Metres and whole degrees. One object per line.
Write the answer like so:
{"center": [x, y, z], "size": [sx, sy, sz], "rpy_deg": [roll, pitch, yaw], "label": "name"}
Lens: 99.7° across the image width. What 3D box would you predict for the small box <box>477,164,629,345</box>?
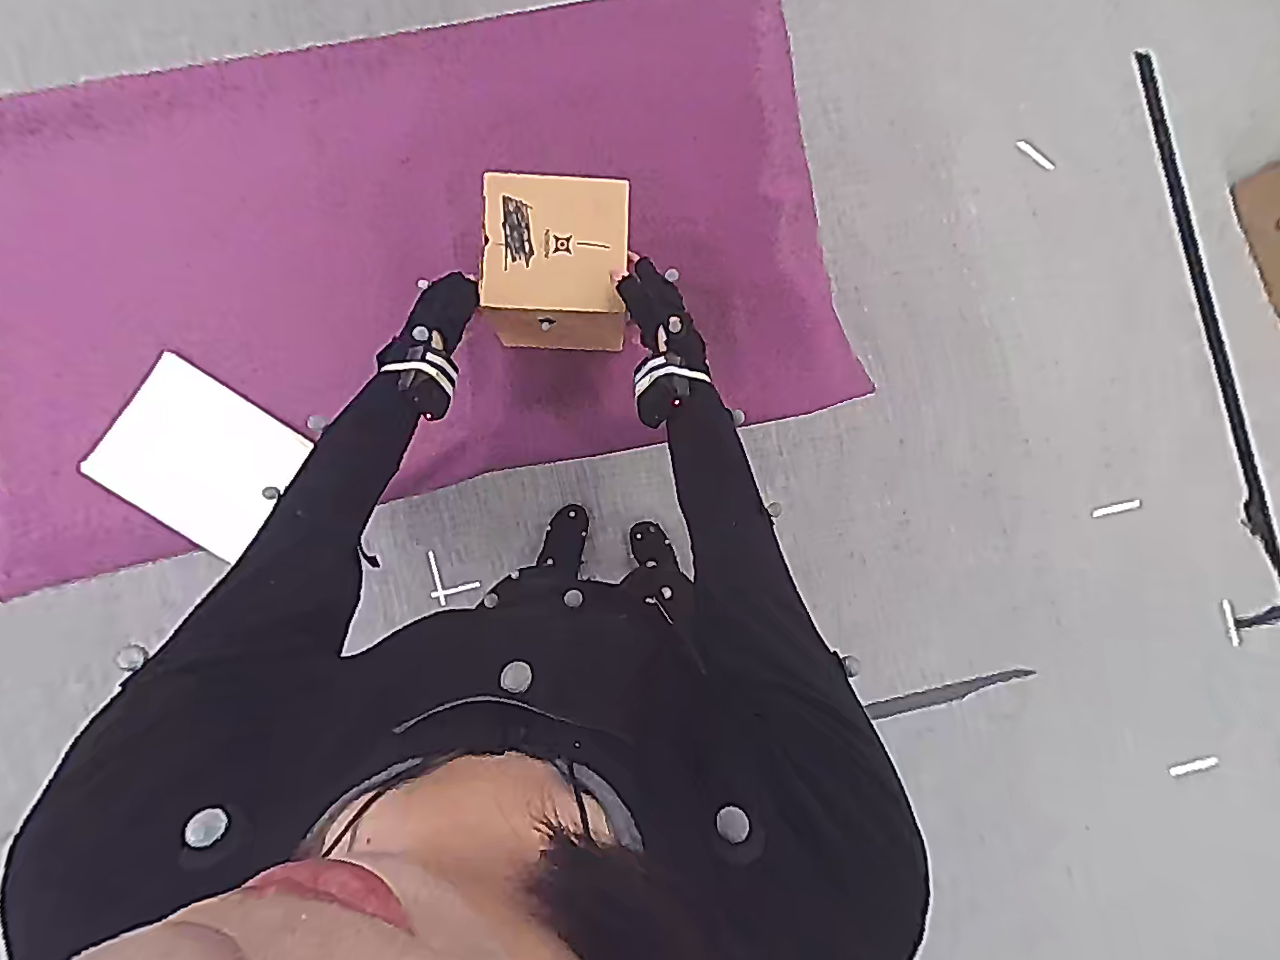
{"center": [-0.106, -0.285, 0.719], "size": [0.179, 0.176, 0.168], "rpy_deg": [2, 87, -4], "label": "small box"}
